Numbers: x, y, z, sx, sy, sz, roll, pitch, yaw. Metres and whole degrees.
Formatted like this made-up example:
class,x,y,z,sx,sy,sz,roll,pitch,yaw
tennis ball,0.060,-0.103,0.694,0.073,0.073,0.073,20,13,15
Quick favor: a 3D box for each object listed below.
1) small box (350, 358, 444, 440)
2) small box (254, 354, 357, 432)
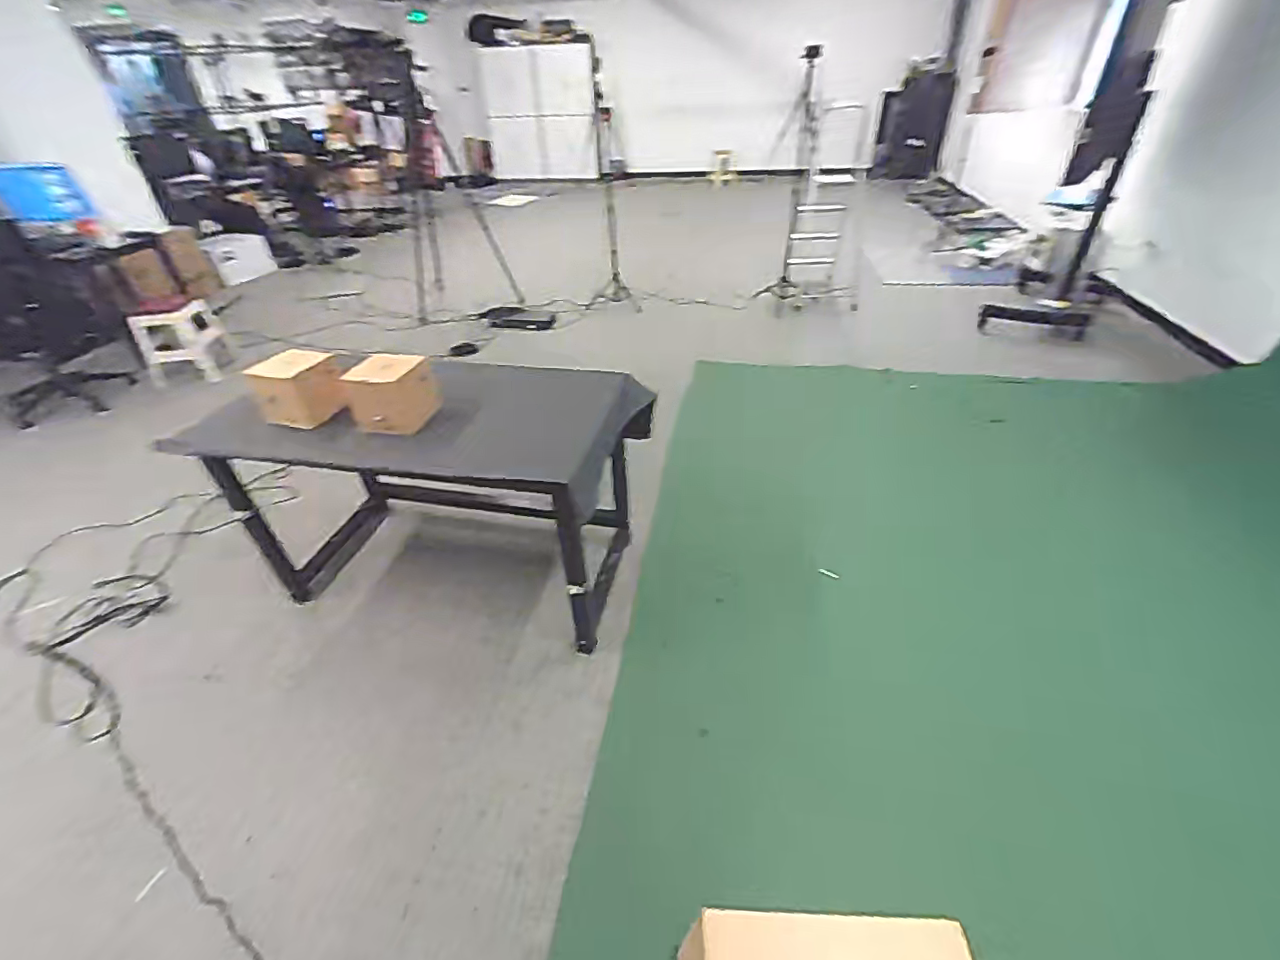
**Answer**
class,x,y,z,sx,sy,sz,roll,pitch,yaw
small box,-0.691,-0.237,1.564,0.168,0.176,0.179,5,37,11
small box,-0.987,-0.259,1.615,0.168,0.176,0.179,9,37,15
